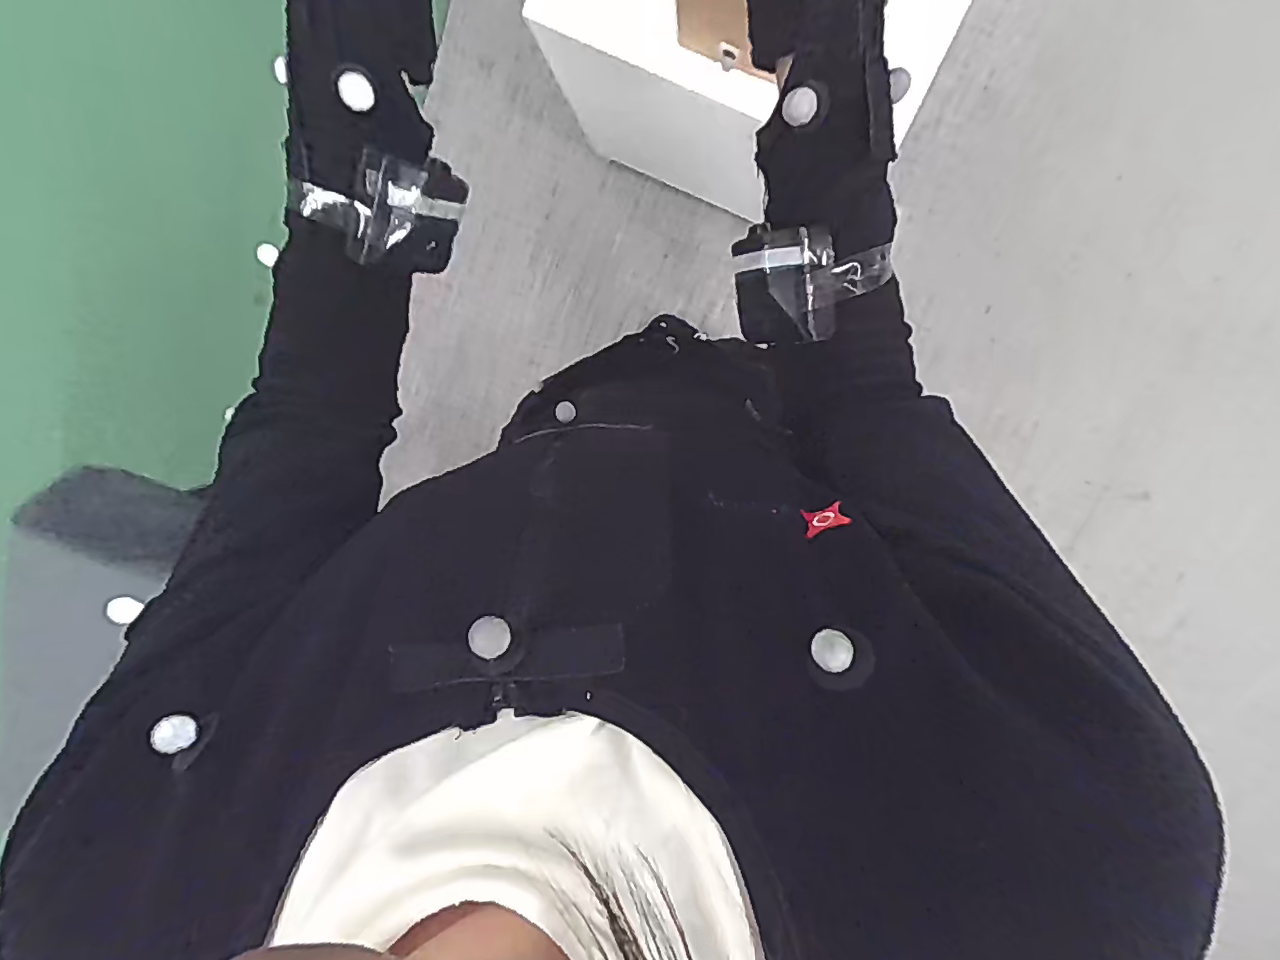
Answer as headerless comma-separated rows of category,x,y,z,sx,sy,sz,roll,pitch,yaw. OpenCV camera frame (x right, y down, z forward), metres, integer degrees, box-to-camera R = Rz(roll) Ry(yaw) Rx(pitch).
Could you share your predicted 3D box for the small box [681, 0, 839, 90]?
small box,0.144,-0.567,0.573,0.168,0.176,0.179,21,107,2
